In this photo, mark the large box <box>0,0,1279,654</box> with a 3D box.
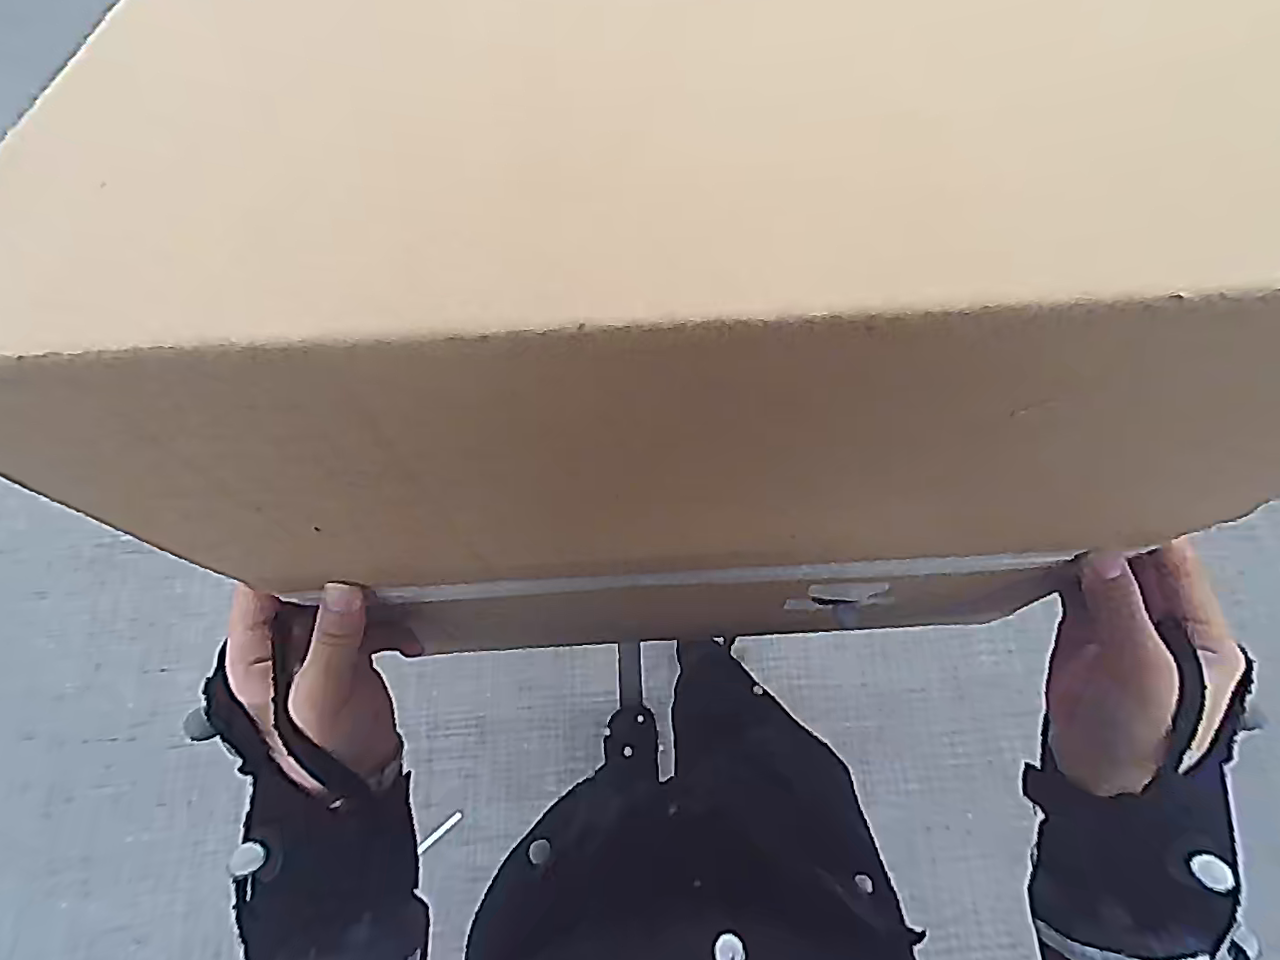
[{"bbox_3d":[0.024,-0.094,0.327,0.408,0.320,0.320,-4,63,-1],"label":"large box"}]
